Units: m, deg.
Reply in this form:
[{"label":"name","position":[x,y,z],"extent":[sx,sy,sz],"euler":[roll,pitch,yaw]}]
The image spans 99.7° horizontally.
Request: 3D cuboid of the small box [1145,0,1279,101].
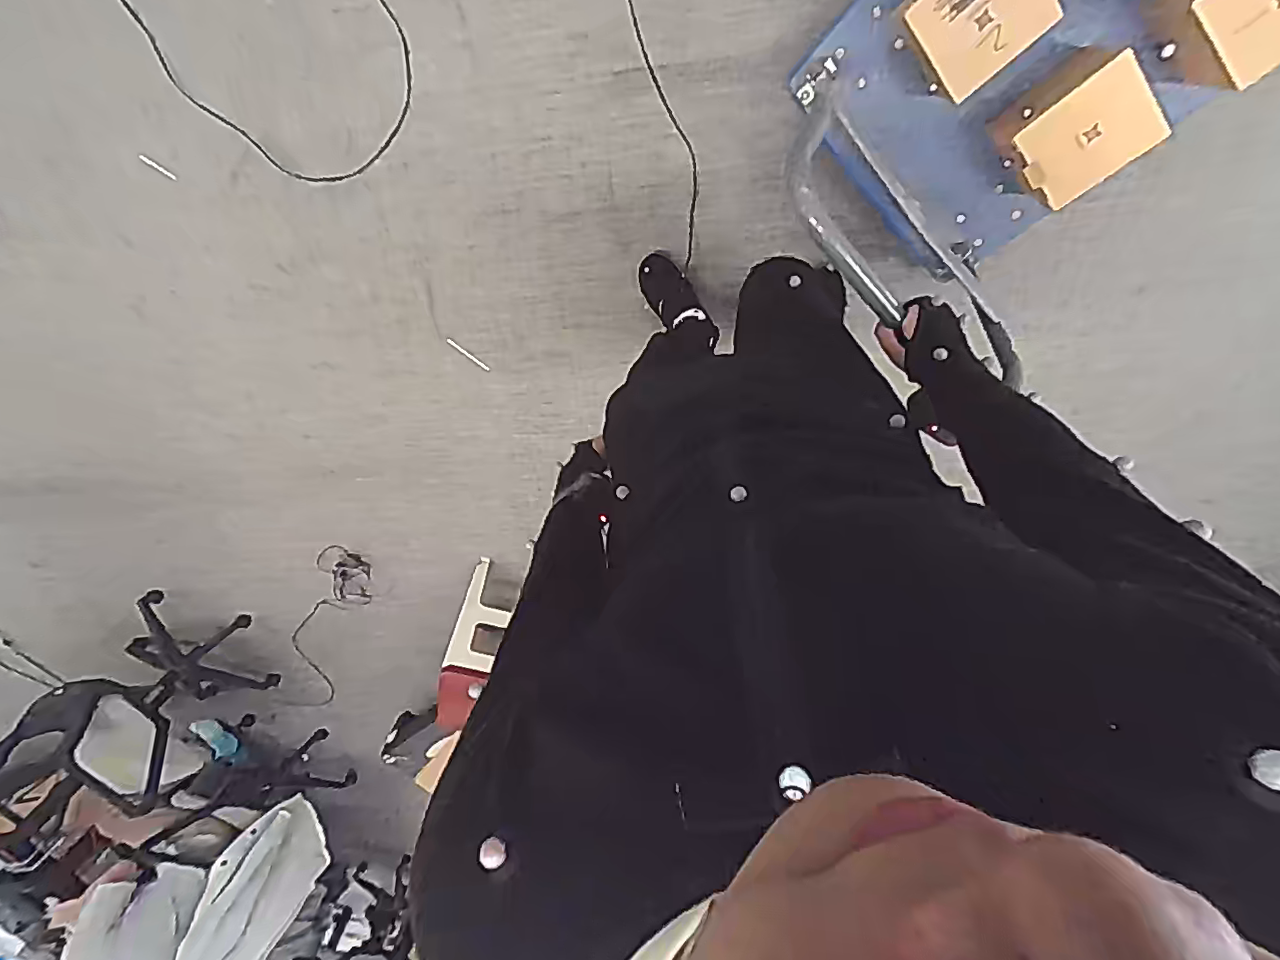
[{"label":"small box","position":[0.946,-0.731,0.829],"extent":[0.168,0.176,0.179],"euler":[41,129,-16]}]
